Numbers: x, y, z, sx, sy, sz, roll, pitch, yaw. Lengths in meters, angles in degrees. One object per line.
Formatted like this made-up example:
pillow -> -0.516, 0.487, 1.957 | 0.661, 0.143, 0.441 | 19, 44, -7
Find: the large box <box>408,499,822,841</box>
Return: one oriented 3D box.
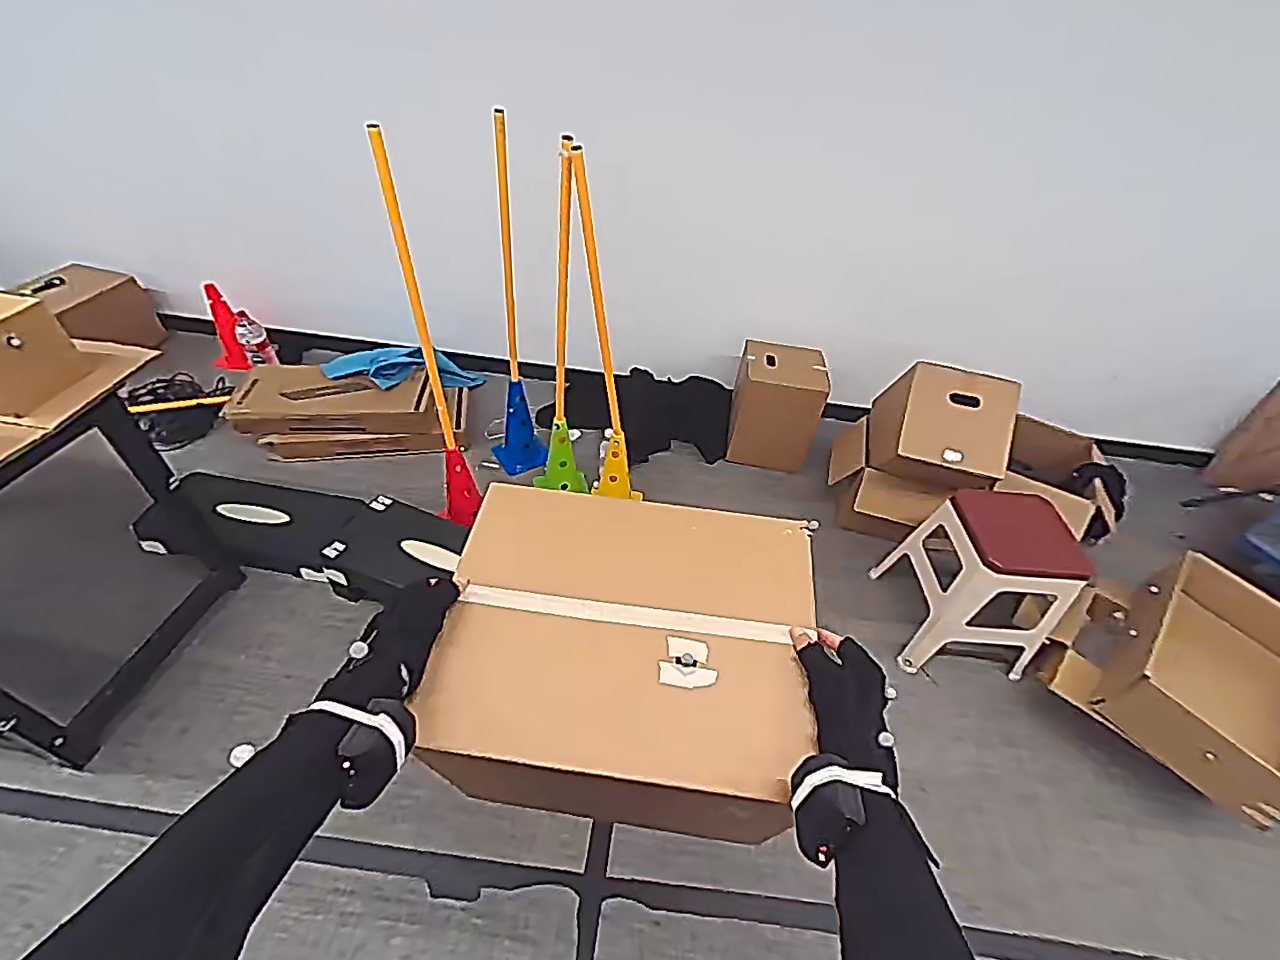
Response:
large box -> -0.019, 0.256, 0.716 | 0.408, 0.320, 0.320 | 7, 51, 3
